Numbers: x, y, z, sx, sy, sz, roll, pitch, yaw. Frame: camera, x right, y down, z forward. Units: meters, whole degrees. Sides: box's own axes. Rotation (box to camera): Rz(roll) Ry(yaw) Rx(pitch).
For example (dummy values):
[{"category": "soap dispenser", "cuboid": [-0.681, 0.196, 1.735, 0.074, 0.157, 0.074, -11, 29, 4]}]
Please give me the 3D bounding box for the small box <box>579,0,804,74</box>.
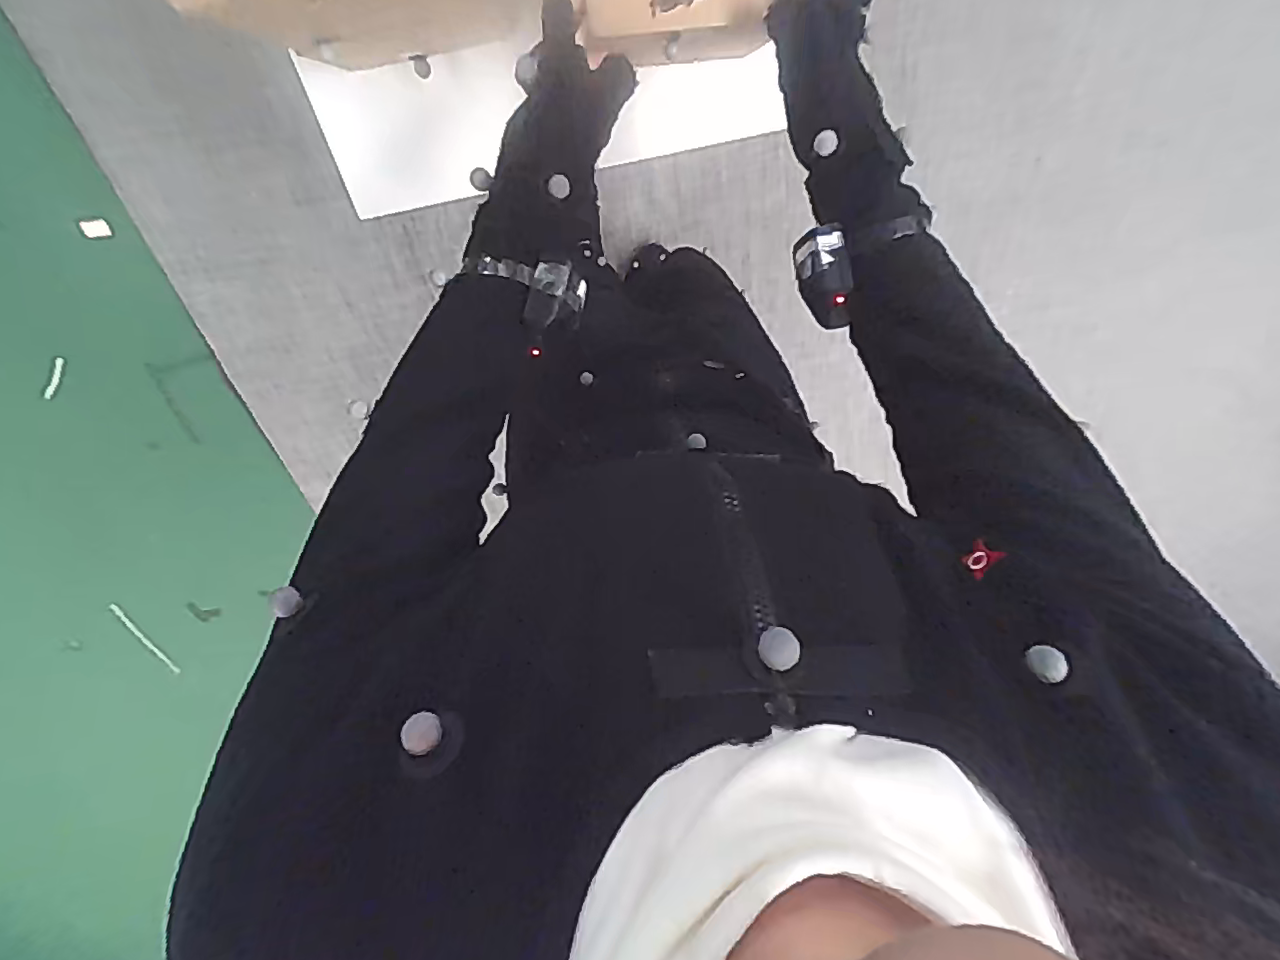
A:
[{"category": "small box", "cuboid": [0.029, -0.455, 0.437, 0.168, 0.176, 0.179, -7, 120, -2]}]
